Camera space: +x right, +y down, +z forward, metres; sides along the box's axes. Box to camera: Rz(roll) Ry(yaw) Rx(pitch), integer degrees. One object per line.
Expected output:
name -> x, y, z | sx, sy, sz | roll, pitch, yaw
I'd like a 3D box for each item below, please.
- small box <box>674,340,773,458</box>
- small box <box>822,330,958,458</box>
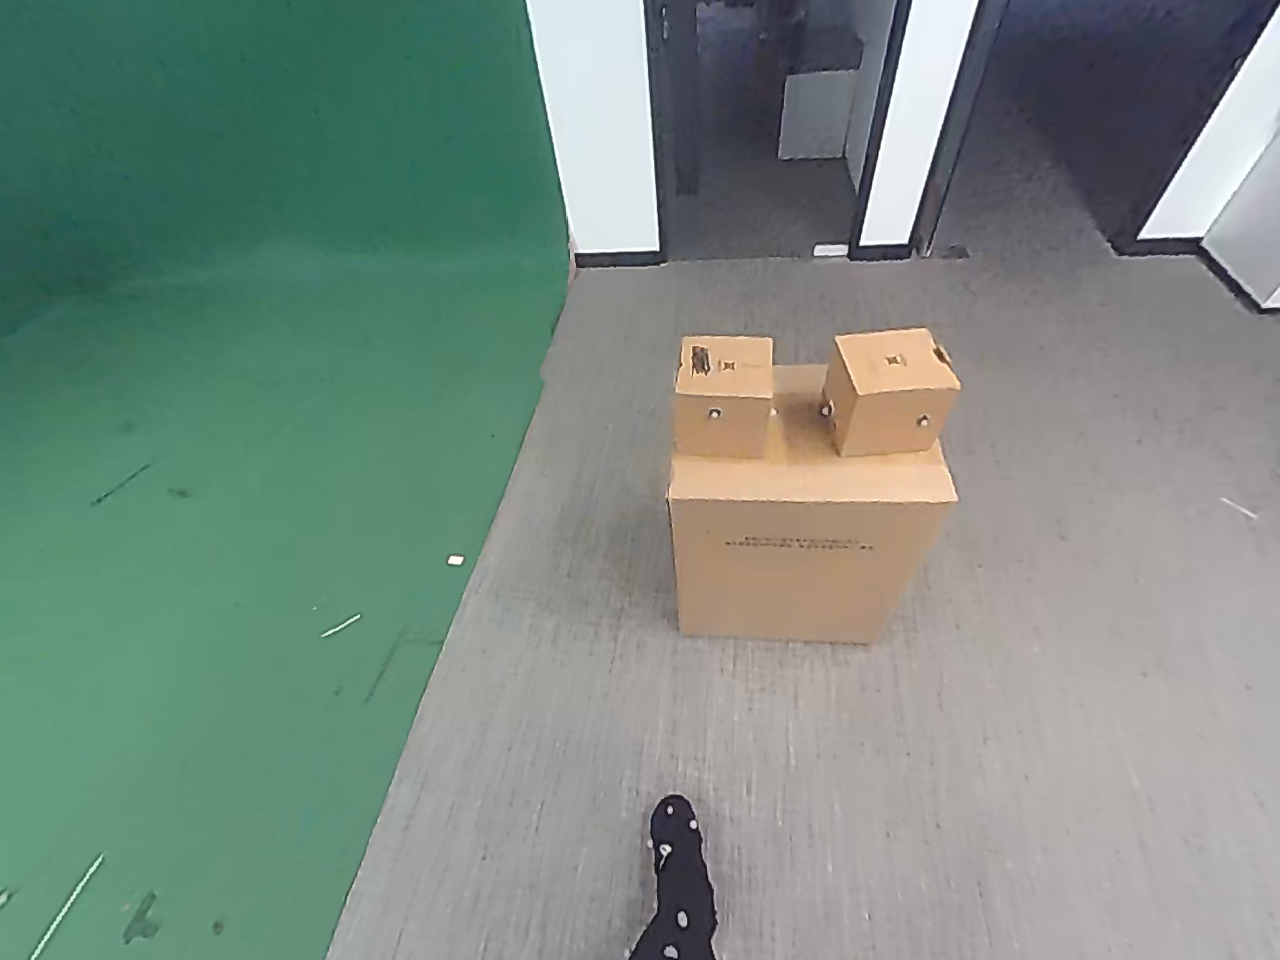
small box -> 0.168, -0.159, 1.073 | 0.179, 0.176, 0.168 | 3, 53, 10
small box -> 0.465, -0.160, 1.037 | 0.179, 0.176, 0.168 | -6, 51, 4
